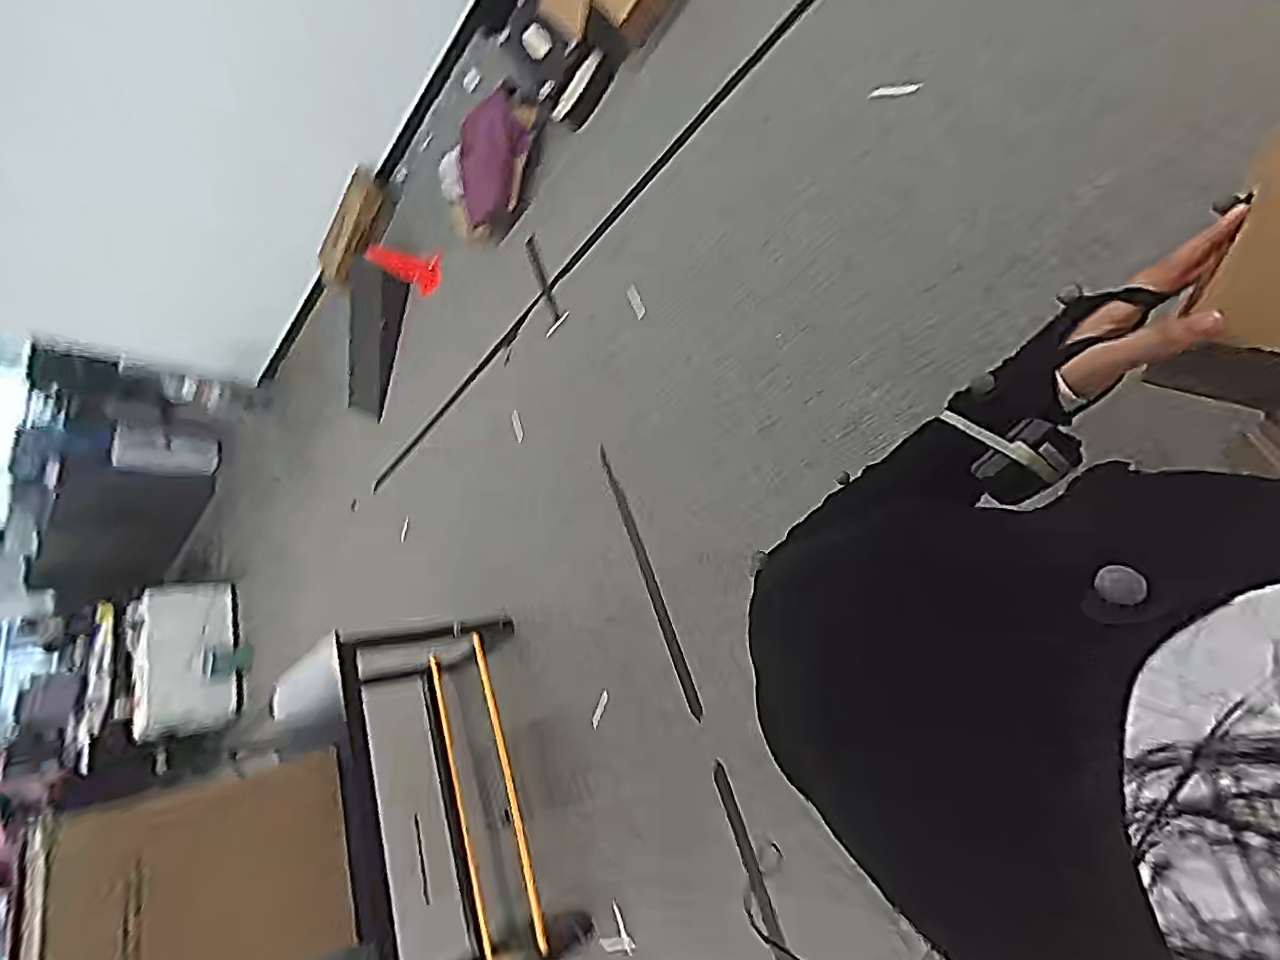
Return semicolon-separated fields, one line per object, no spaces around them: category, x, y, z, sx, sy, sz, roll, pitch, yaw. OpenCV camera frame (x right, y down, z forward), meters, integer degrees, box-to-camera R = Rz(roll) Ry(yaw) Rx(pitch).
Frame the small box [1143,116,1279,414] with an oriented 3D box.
small box;0.463;-0.137;0.338;0.168;0.176;0.179;27;105;34
